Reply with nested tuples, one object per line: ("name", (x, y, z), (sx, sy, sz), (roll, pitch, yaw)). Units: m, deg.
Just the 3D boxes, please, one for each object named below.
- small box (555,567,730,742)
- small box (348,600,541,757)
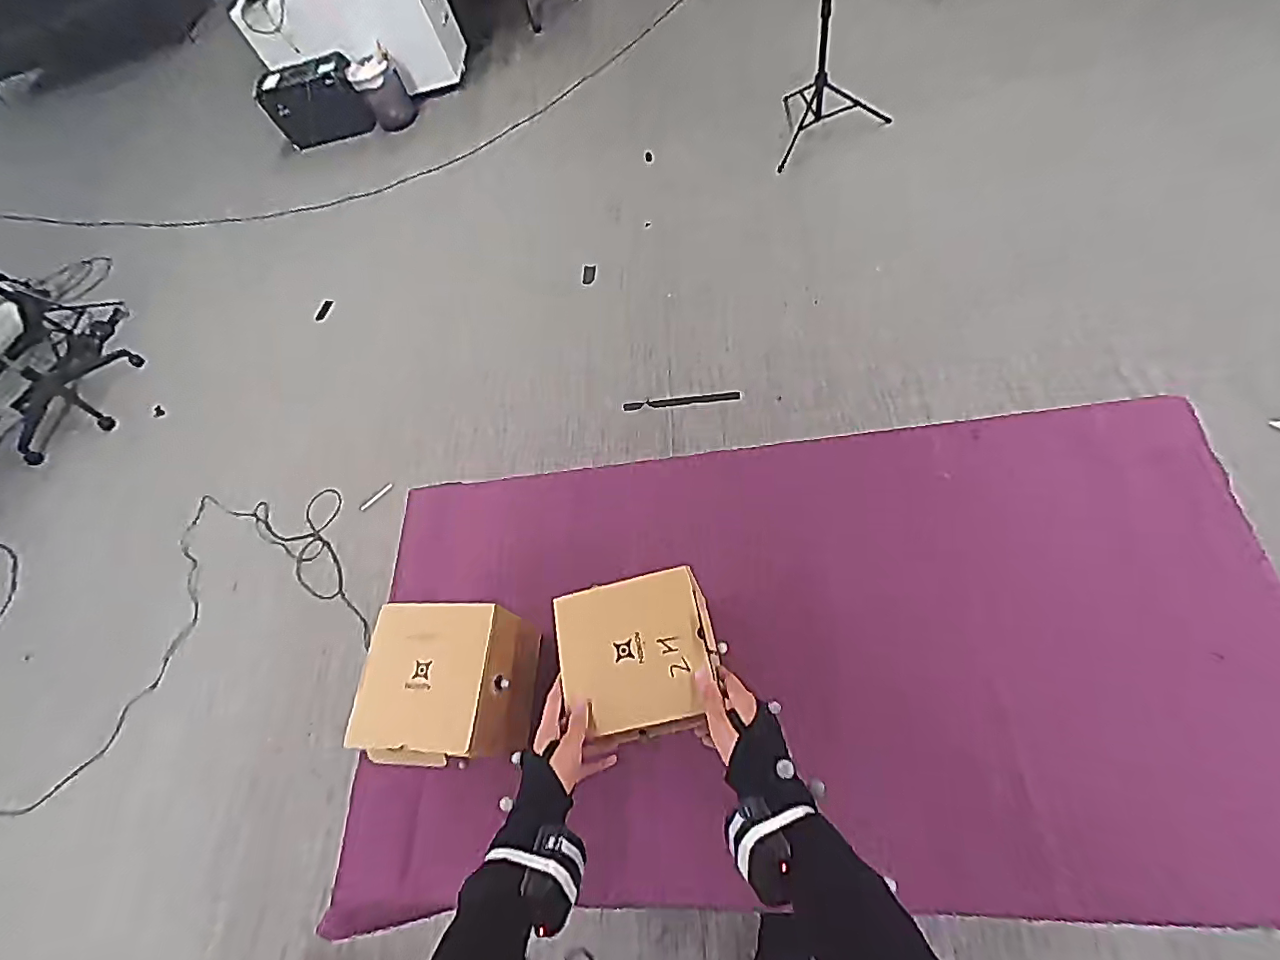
("small box", (0.008, 0.230, 0.688), (0.179, 0.176, 0.168), (-14, 61, 6))
("small box", (-0.246, 0.270, 0.730), (0.168, 0.176, 0.179), (-1, 62, 12))
